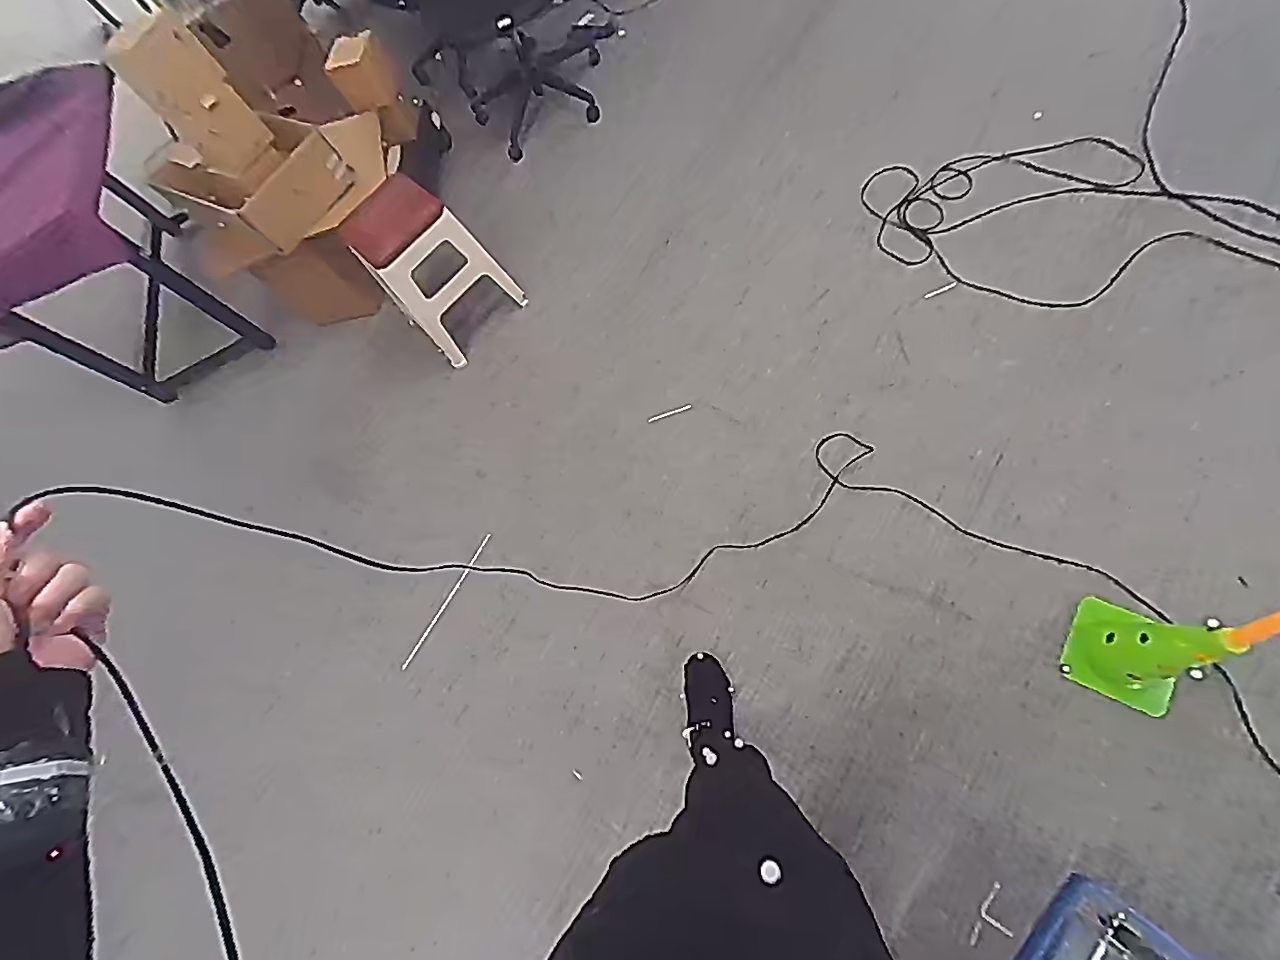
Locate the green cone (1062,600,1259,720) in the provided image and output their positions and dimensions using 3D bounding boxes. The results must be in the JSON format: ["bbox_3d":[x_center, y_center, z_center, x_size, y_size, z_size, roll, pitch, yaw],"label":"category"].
[{"bbox_3d":[1.018,0.326,1.027,0.200,0.368,0.202,24,77,23],"label":"green cone"}]
